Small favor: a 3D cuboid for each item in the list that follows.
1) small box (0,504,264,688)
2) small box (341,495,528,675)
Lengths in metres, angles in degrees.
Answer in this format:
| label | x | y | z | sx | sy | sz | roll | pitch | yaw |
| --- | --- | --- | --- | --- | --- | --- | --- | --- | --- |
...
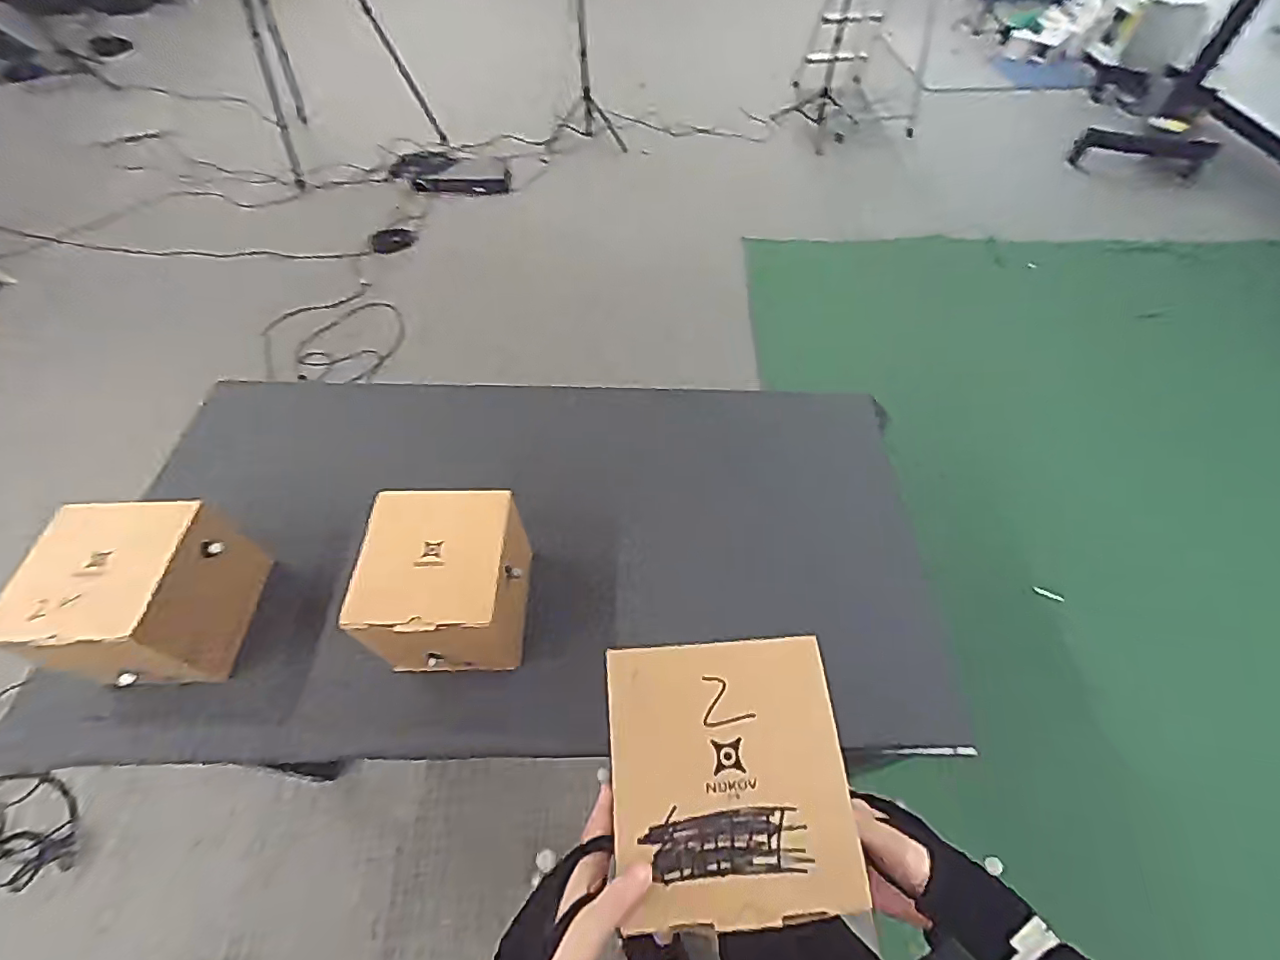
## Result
| label | x | y | z | sx | sy | sz | roll | pitch | yaw |
| --- | --- | --- | --- | --- | --- | --- | --- | --- | --- |
| small box | -0.615 | 0.146 | 0.673 | 0.168 | 0.176 | 0.179 | -1 | 55 | -1 |
| small box | -0.241 | 0.136 | 0.690 | 0.168 | 0.176 | 0.179 | 0 | 55 | -1 |
